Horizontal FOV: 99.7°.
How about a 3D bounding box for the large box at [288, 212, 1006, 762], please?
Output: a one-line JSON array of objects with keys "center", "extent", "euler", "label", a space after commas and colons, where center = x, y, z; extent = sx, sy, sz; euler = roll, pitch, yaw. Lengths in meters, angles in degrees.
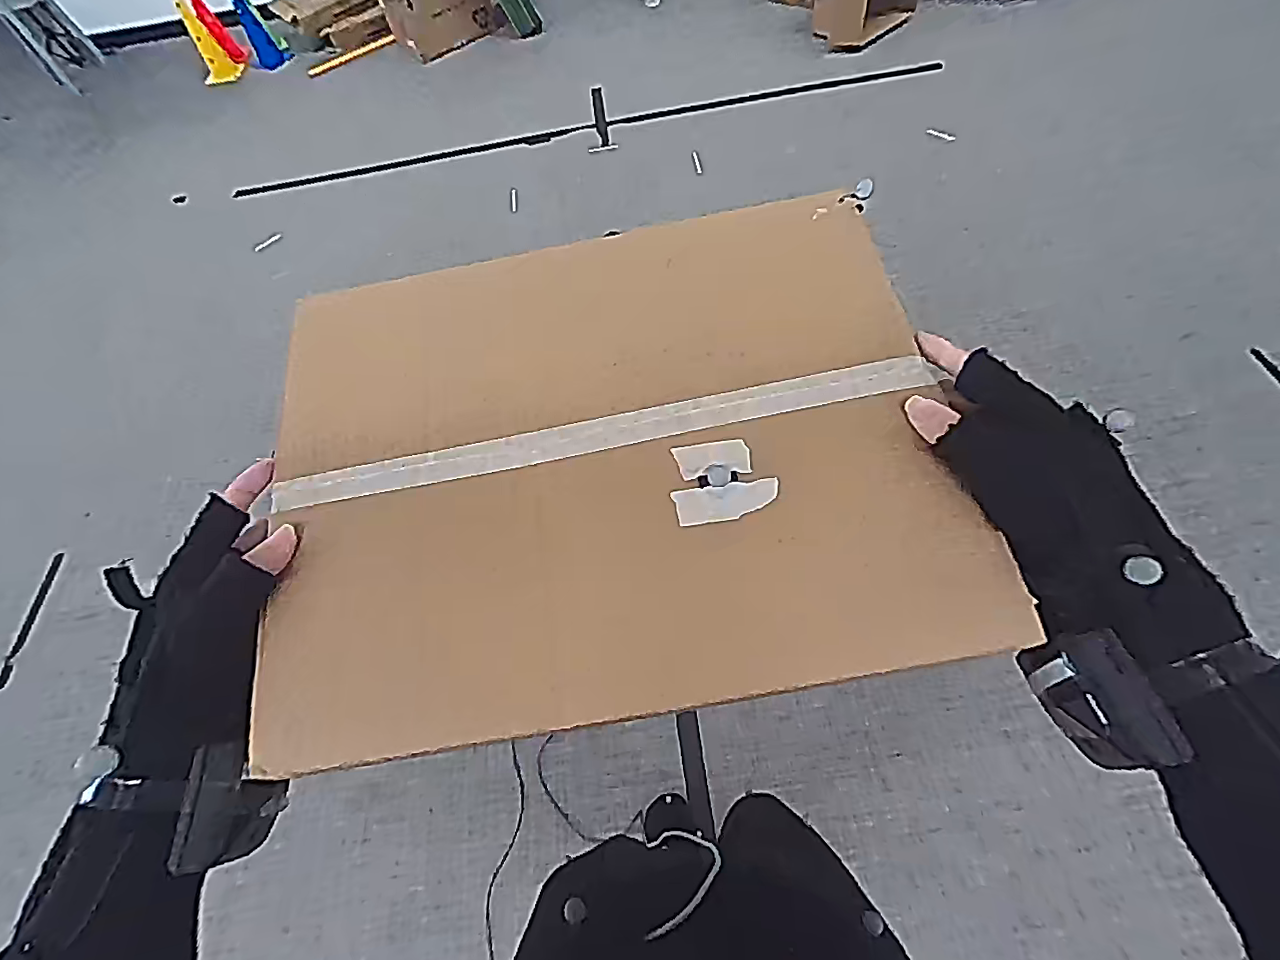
[{"center": [-0.011, 0.032, 0.483], "extent": [0.408, 0.320, 0.320], "euler": [-11, 68, 1], "label": "large box"}]
